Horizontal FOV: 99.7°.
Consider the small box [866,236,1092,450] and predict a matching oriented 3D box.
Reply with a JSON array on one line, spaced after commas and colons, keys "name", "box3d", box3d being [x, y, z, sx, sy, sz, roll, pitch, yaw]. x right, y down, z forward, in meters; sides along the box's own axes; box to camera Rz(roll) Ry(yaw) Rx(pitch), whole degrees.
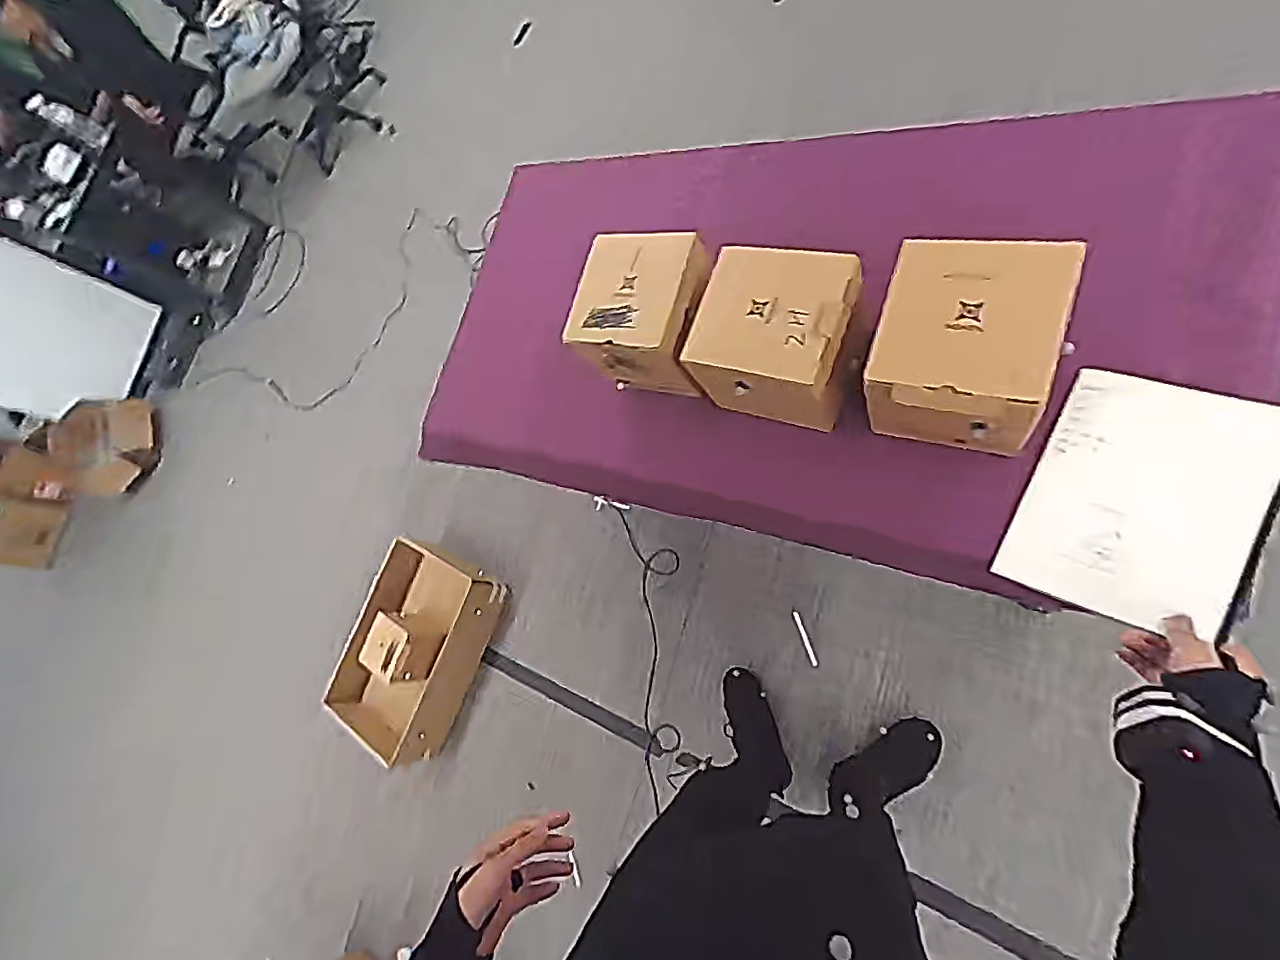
[{"name": "small box", "box3d": [0.373, -0.149, 0.618, 0.168, 0.176, 0.179, 16, 82, 29]}]
